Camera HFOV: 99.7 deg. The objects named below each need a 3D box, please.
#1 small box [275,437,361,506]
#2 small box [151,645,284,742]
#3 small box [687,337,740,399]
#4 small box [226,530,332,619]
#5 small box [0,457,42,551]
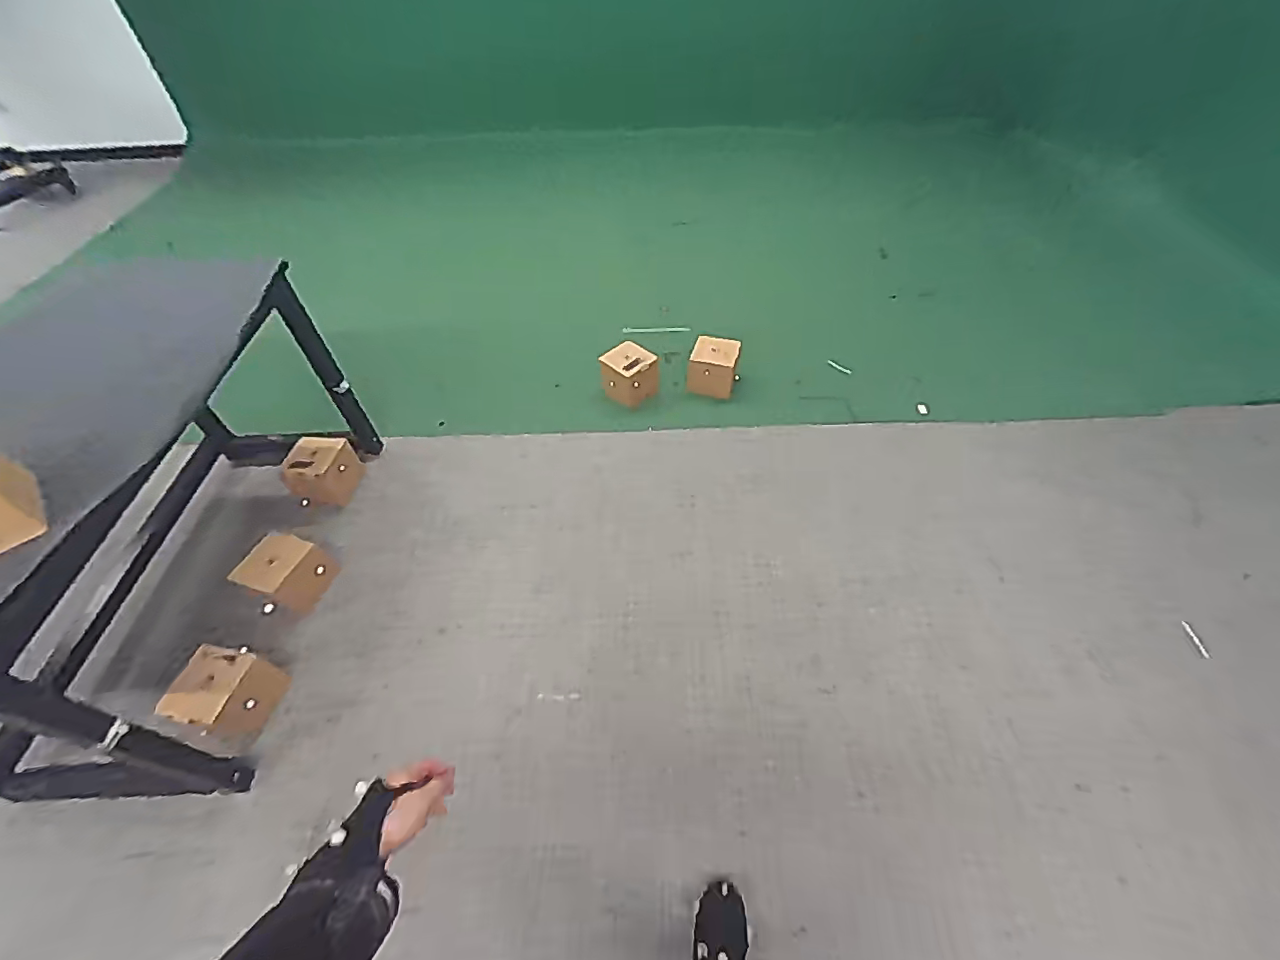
[{"bbox_3d":[-1.096,-0.028,1.860,0.168,0.176,0.179,3,49,3],"label":"small box"},{"bbox_3d":[-1.060,0.549,1.378,0.168,0.176,0.179,8,51,8],"label":"small box"},{"bbox_3d":[0.291,-0.448,2.174,0.179,0.176,0.168,14,52,12],"label":"small box"},{"bbox_3d":[-1.052,0.282,1.601,0.168,0.176,0.179,14,53,14],"label":"small box"},{"bbox_3d":[-1.125,0.032,0.863,0.168,0.176,0.179,-36,58,-25],"label":"small box"}]
